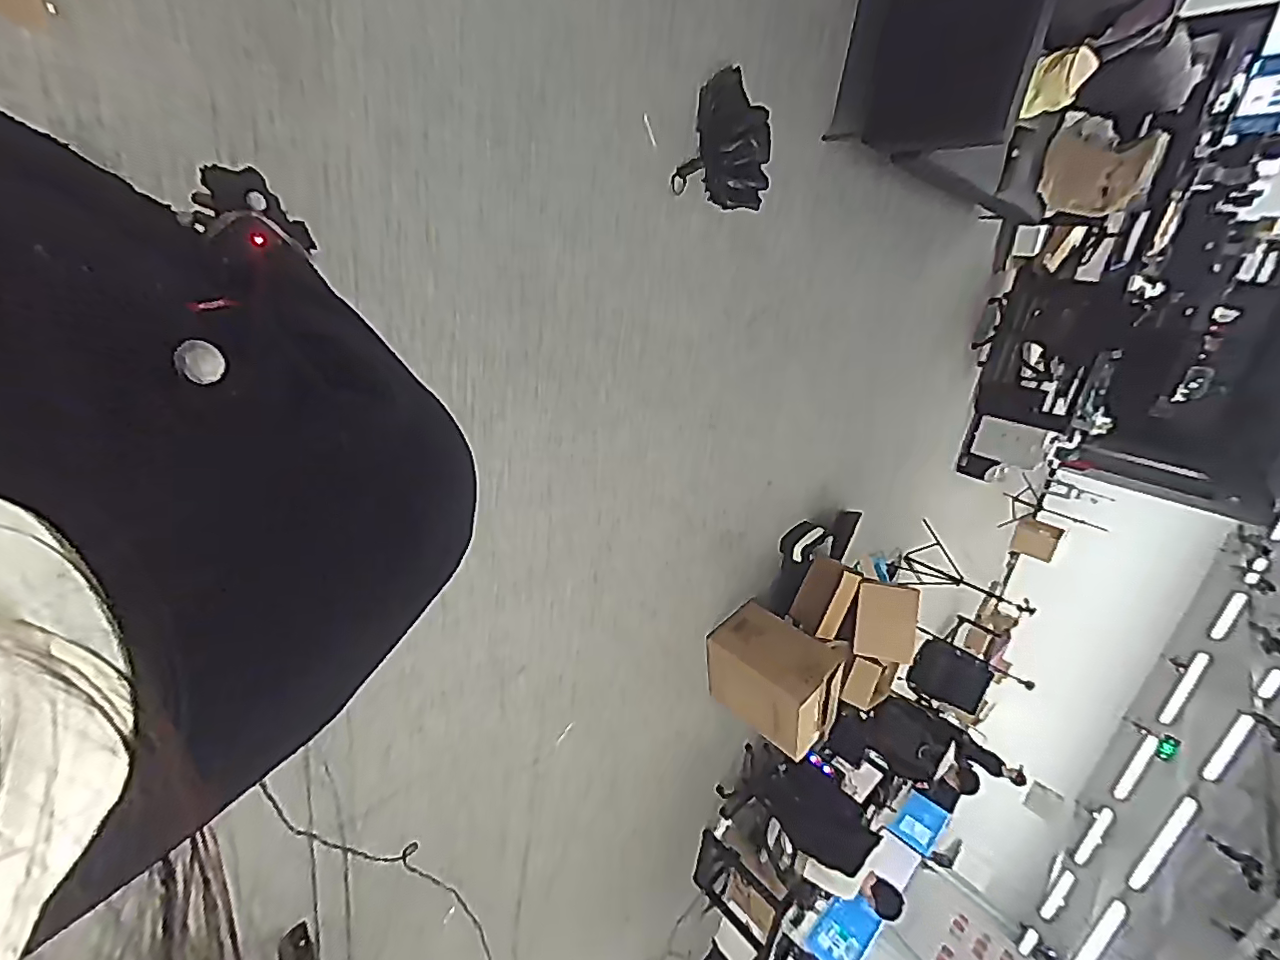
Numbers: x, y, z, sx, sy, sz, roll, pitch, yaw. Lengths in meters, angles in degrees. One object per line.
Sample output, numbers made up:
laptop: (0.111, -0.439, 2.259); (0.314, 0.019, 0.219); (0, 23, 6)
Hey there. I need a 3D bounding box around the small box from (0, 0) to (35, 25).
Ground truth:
small box: (-0.945, -0.750, 0.721); (0.179, 0.176, 0.168); (-5, 113, -43)
